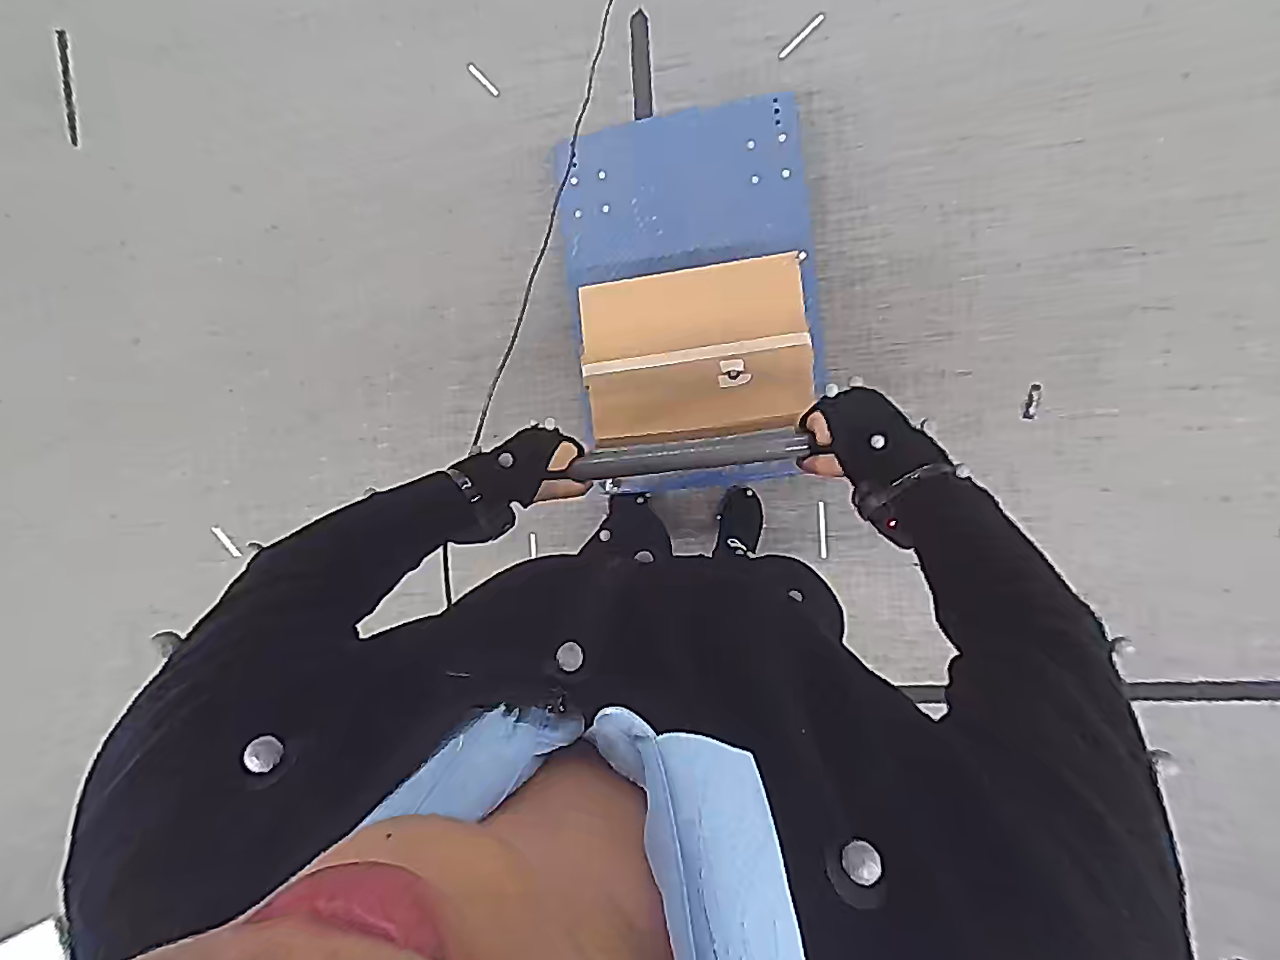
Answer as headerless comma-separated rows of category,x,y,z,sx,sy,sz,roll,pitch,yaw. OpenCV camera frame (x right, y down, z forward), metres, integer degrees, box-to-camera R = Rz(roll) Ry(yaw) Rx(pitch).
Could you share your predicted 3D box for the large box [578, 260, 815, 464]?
large box,0.116,-0.214,1.126,0.408,0.320,0.320,-7,90,8
